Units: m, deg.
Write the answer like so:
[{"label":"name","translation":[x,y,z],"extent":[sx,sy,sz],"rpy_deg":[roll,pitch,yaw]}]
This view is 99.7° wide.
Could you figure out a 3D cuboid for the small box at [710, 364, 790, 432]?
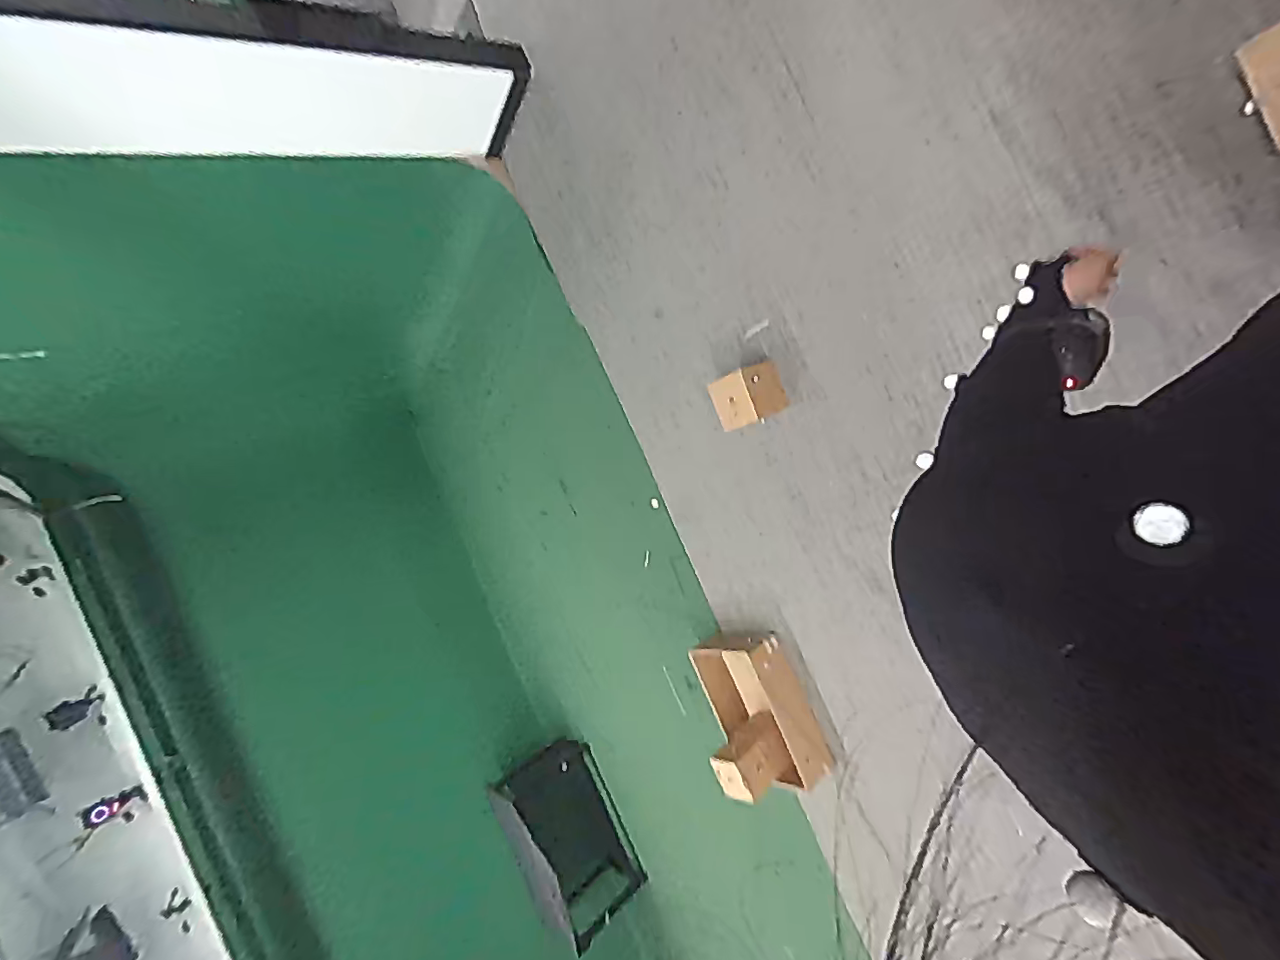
[{"label":"small box","translation":[0.373,-0.280,1.824],"extent":[0.168,0.176,0.179],"rpy_deg":[-16,96,55]}]

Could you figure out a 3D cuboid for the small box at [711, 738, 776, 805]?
[{"label":"small box","translation":[0.428,1.179,2.201],"extent":[0.179,0.176,0.168],"rpy_deg":[-30,85,53]}]

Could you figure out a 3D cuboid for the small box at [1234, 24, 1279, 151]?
[{"label":"small box","translation":[1.029,-0.616,0.789],"extent":[0.179,0.176,0.168],"rpy_deg":[-24,90,55]}]
